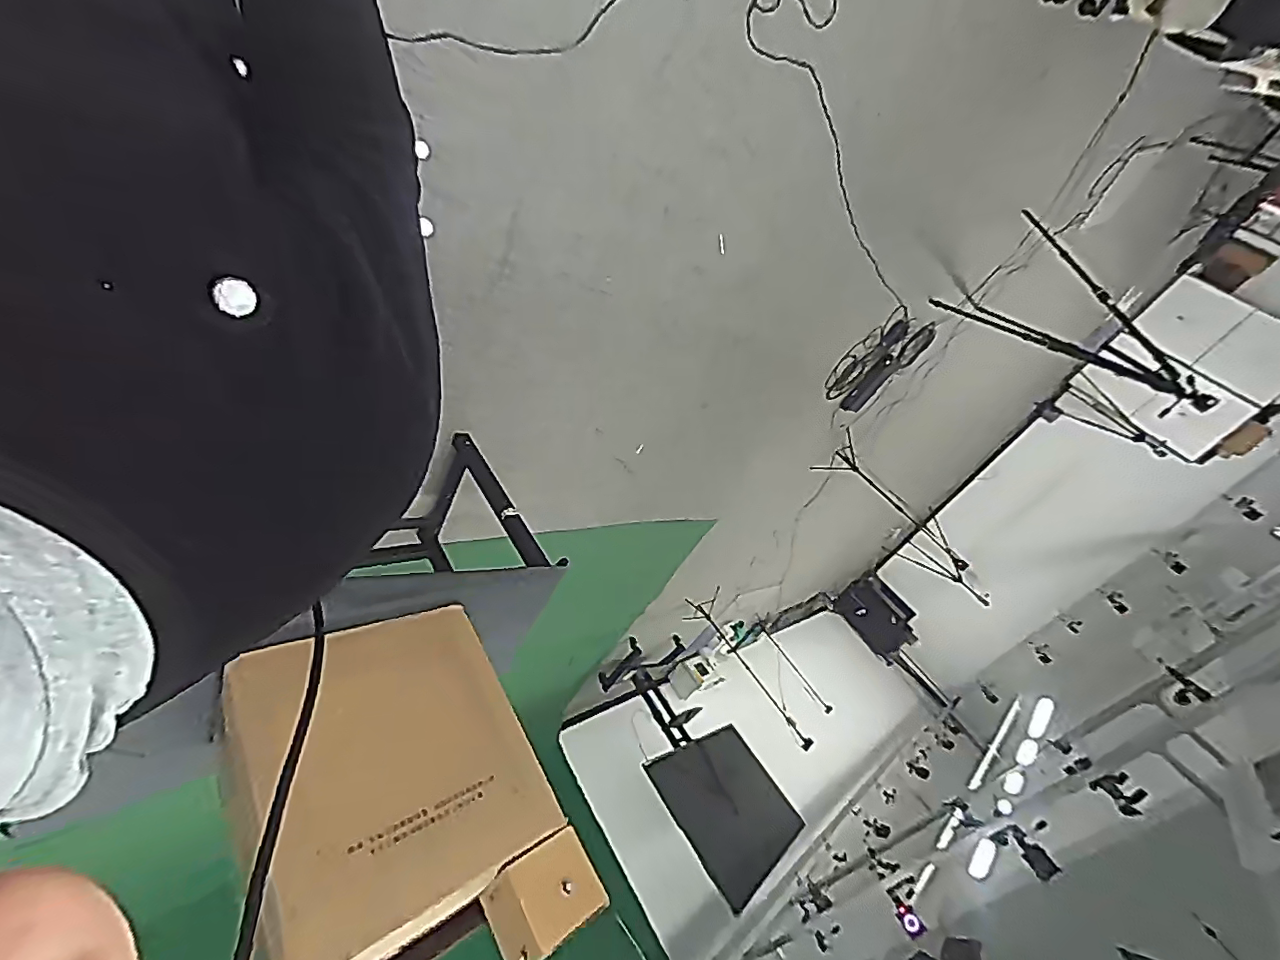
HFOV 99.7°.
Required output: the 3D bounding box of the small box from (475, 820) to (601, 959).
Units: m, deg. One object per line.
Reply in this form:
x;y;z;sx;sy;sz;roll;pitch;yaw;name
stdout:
-0.223;0.883;1.170;0.179;0.176;0.168;-6;137;-48;small box
